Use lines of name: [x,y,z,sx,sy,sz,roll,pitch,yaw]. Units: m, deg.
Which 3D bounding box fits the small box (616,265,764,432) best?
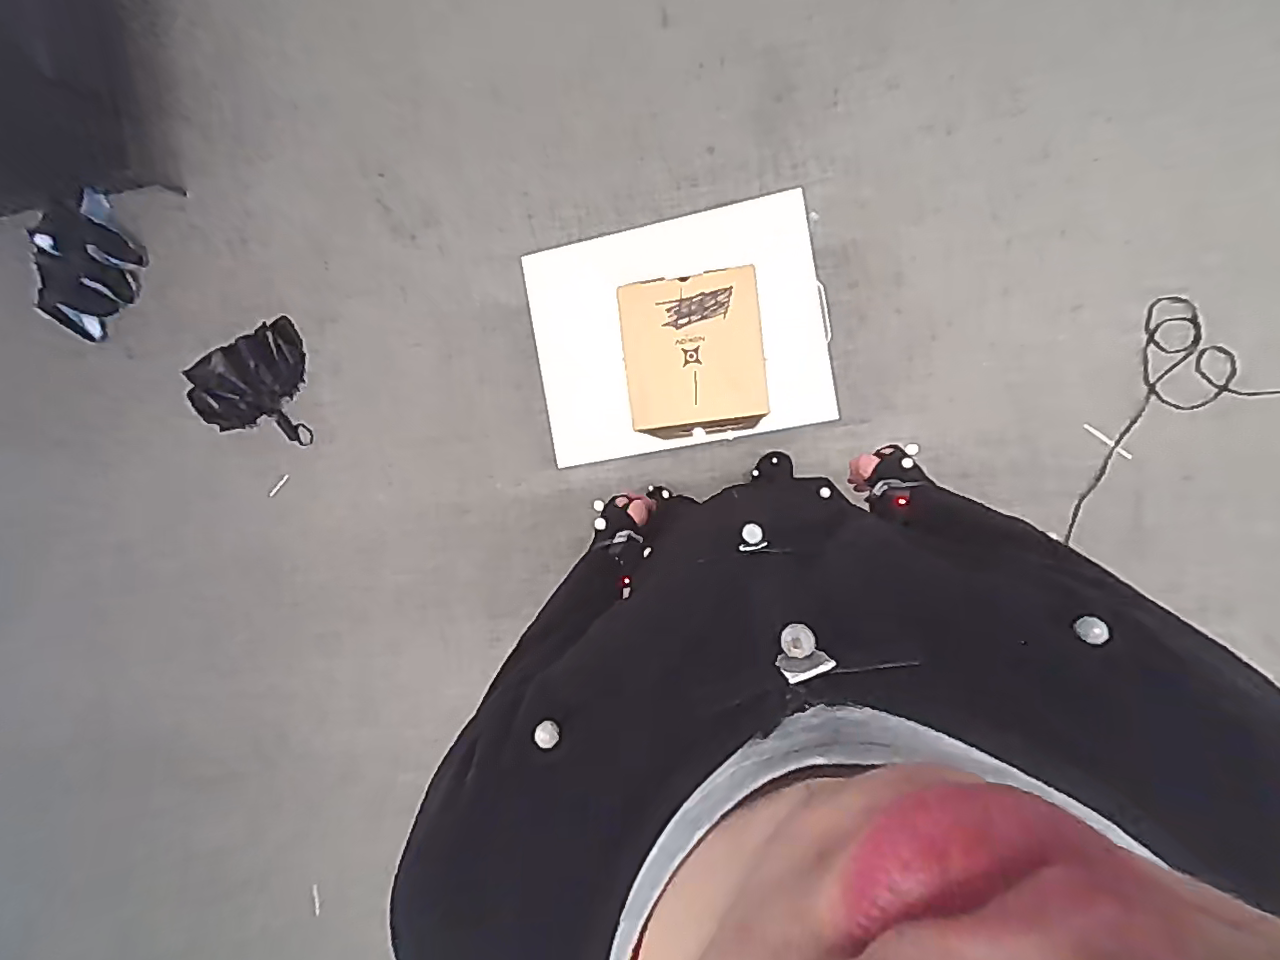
small box: [0.068,-0.161,0.718,0.168,0.176,0.179,-5,92,9]
